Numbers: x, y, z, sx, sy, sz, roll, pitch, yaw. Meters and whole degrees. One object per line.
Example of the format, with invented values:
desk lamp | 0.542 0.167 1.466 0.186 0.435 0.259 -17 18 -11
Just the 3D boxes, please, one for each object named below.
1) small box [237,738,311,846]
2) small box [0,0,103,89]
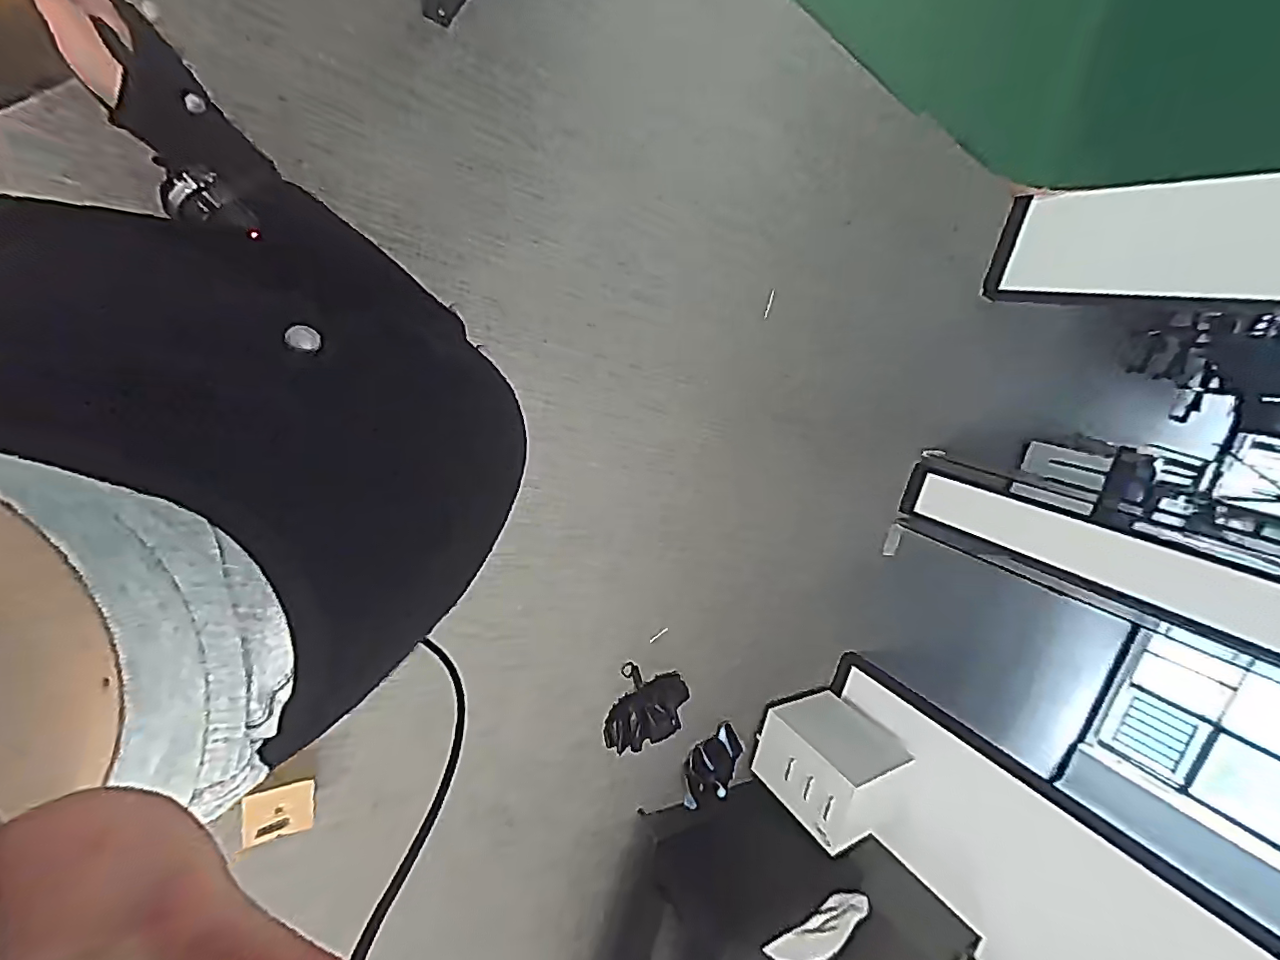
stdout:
small box | -1.036 0.876 1.533 0.168 0.176 0.179 0 108 -35
small box | -0.507 -0.350 0.331 0.168 0.176 0.179 -32 123 -8
